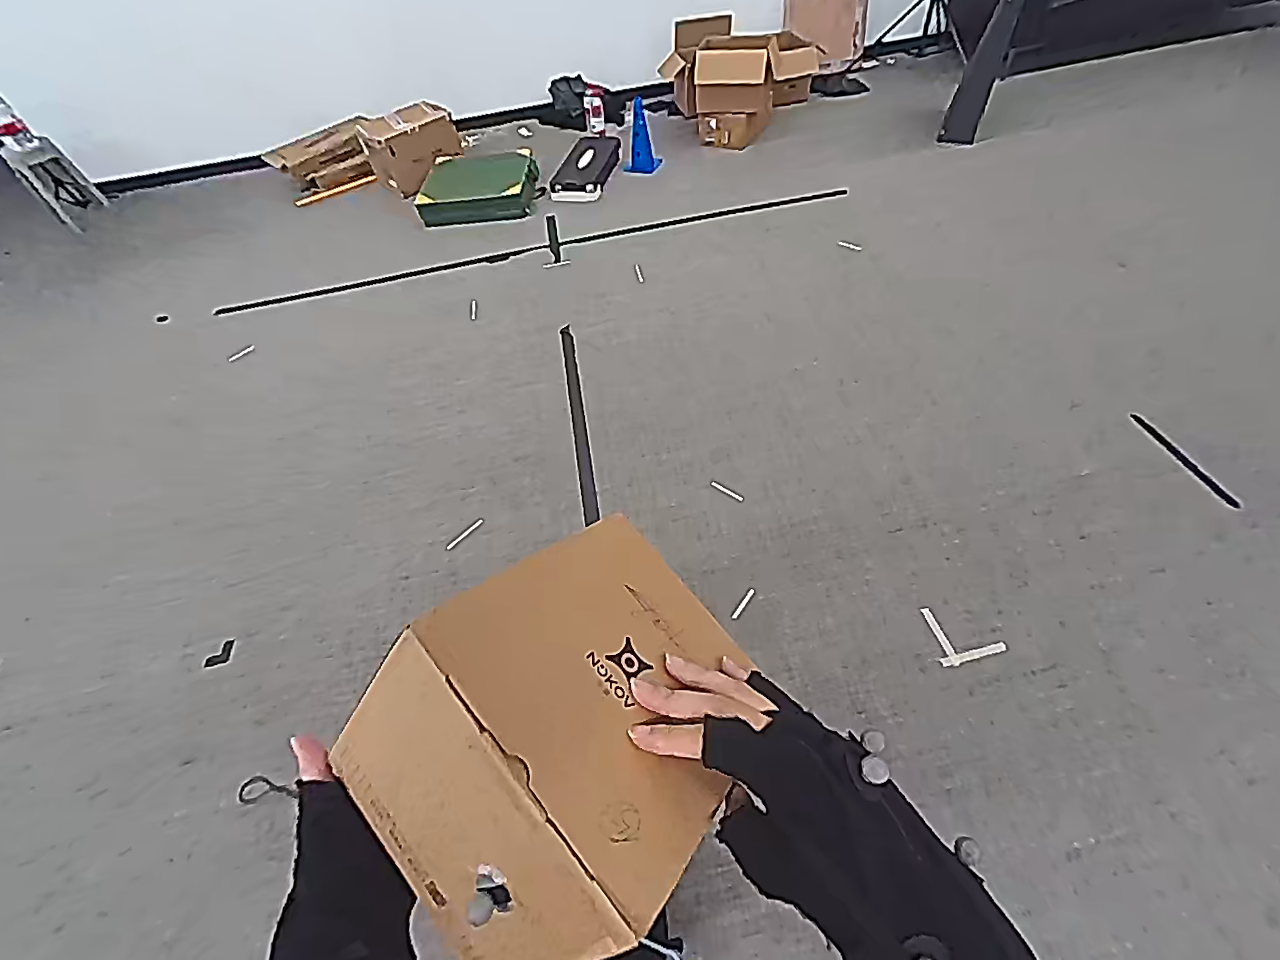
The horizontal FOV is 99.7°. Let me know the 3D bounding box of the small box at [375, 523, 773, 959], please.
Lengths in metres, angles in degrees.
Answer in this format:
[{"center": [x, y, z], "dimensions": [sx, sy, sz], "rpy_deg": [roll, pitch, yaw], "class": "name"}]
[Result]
[{"center": [-0.050, 0.163, 0.361], "dimensions": [0.168, 0.176, 0.179], "rpy_deg": [47, 34, 12], "class": "small box"}]
